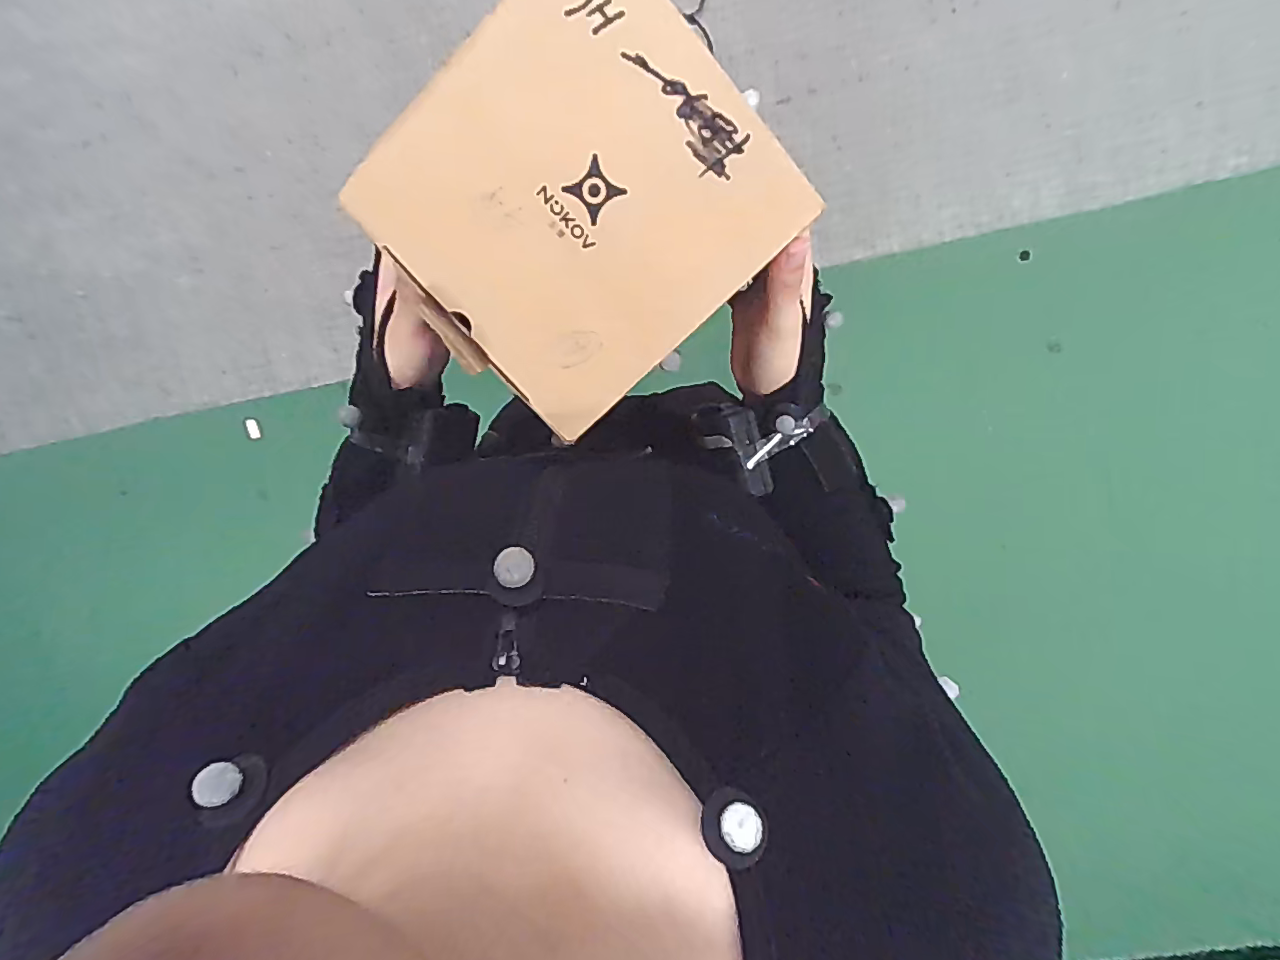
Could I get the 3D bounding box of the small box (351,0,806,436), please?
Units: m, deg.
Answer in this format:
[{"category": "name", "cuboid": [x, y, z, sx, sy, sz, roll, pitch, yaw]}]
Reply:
[{"category": "small box", "cuboid": [-0.029, -0.155, 0.348, 0.179, 0.176, 0.168, -42, 100, 11]}]
